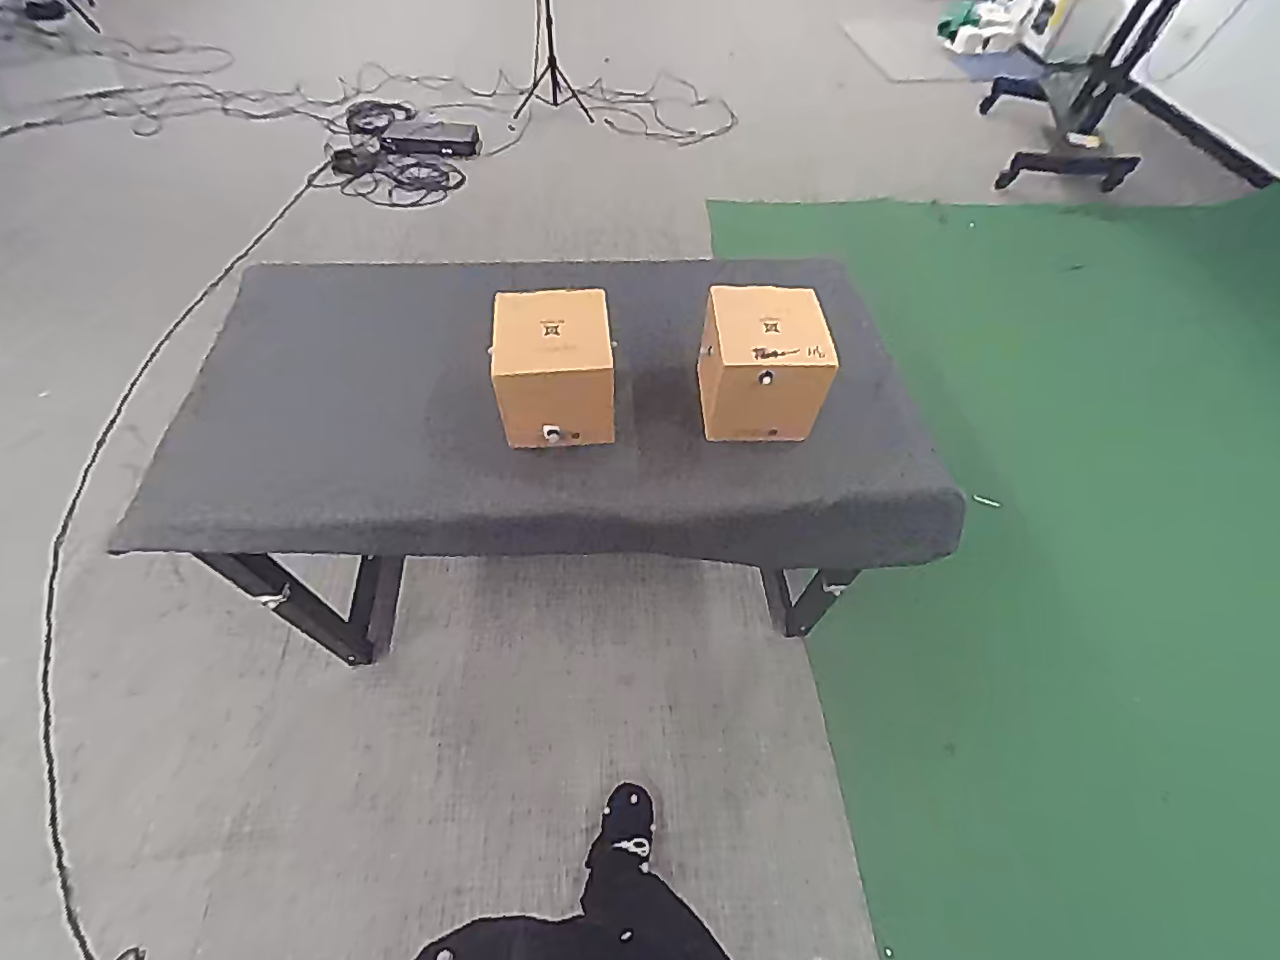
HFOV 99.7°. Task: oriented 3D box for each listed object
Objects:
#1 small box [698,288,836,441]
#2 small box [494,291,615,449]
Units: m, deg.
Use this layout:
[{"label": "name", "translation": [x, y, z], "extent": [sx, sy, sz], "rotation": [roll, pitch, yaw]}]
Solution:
[{"label": "small box", "translation": [0.188, -0.182, 0.864], "extent": [0.168, 0.176, 0.179], "rotation": [-1, 55, -2]}, {"label": "small box", "translation": [-0.127, -0.169, 0.843], "extent": [0.168, 0.176, 0.179], "rotation": [-5, 56, -5]}]
